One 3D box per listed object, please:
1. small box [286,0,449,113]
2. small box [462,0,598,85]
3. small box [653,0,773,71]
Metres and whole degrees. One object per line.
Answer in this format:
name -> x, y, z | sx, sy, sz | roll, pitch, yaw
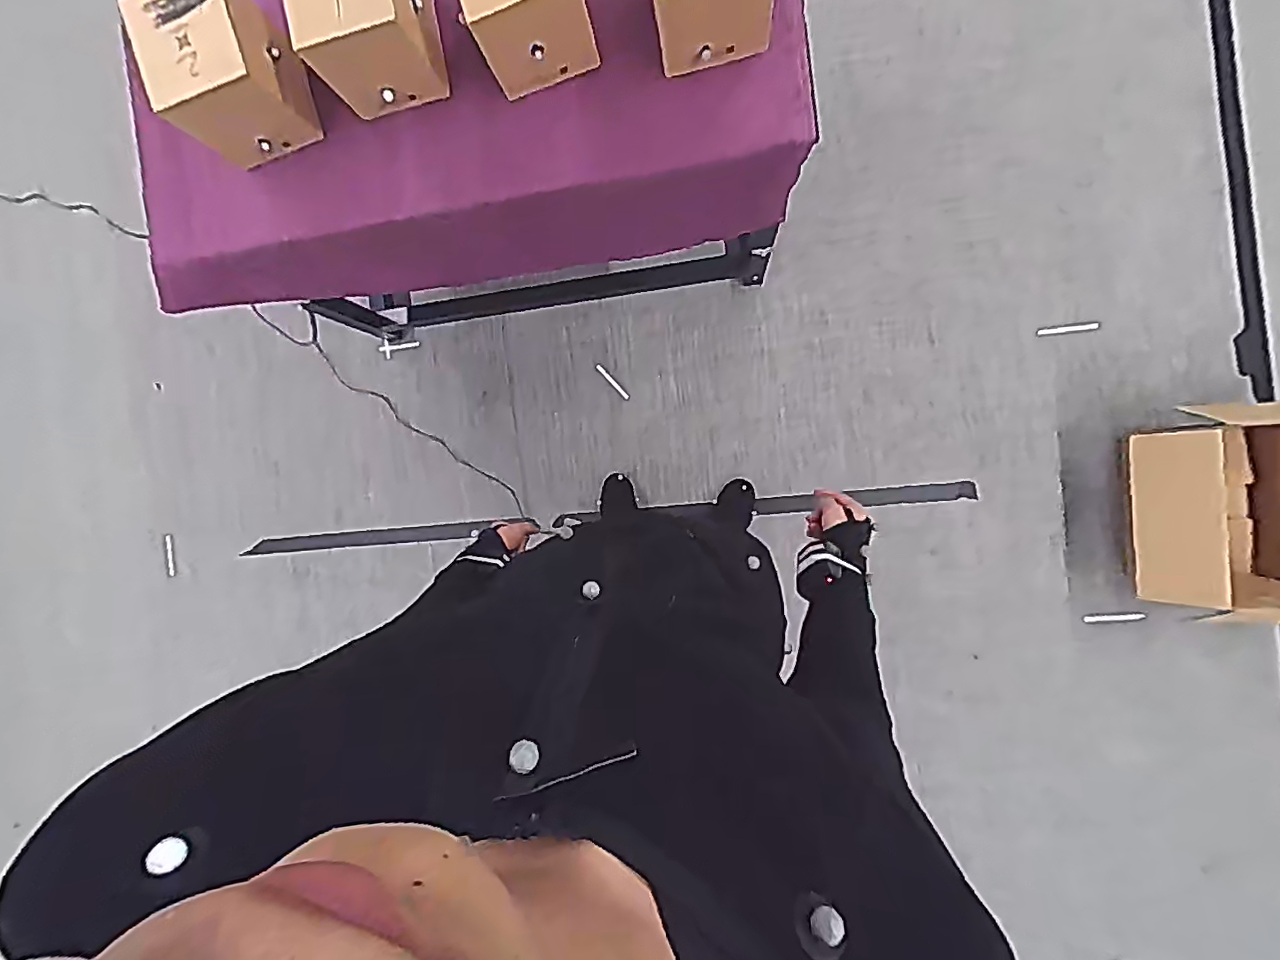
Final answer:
small box -> -0.425, -0.729, 0.848 | 0.168, 0.176, 0.179 | -10, 92, 7
small box -> -0.173, -0.745, 0.816 | 0.168, 0.176, 0.179 | -16, 90, 7
small box -> 0.097, -0.752, 0.781 | 0.168, 0.176, 0.179 | -10, 90, 8
